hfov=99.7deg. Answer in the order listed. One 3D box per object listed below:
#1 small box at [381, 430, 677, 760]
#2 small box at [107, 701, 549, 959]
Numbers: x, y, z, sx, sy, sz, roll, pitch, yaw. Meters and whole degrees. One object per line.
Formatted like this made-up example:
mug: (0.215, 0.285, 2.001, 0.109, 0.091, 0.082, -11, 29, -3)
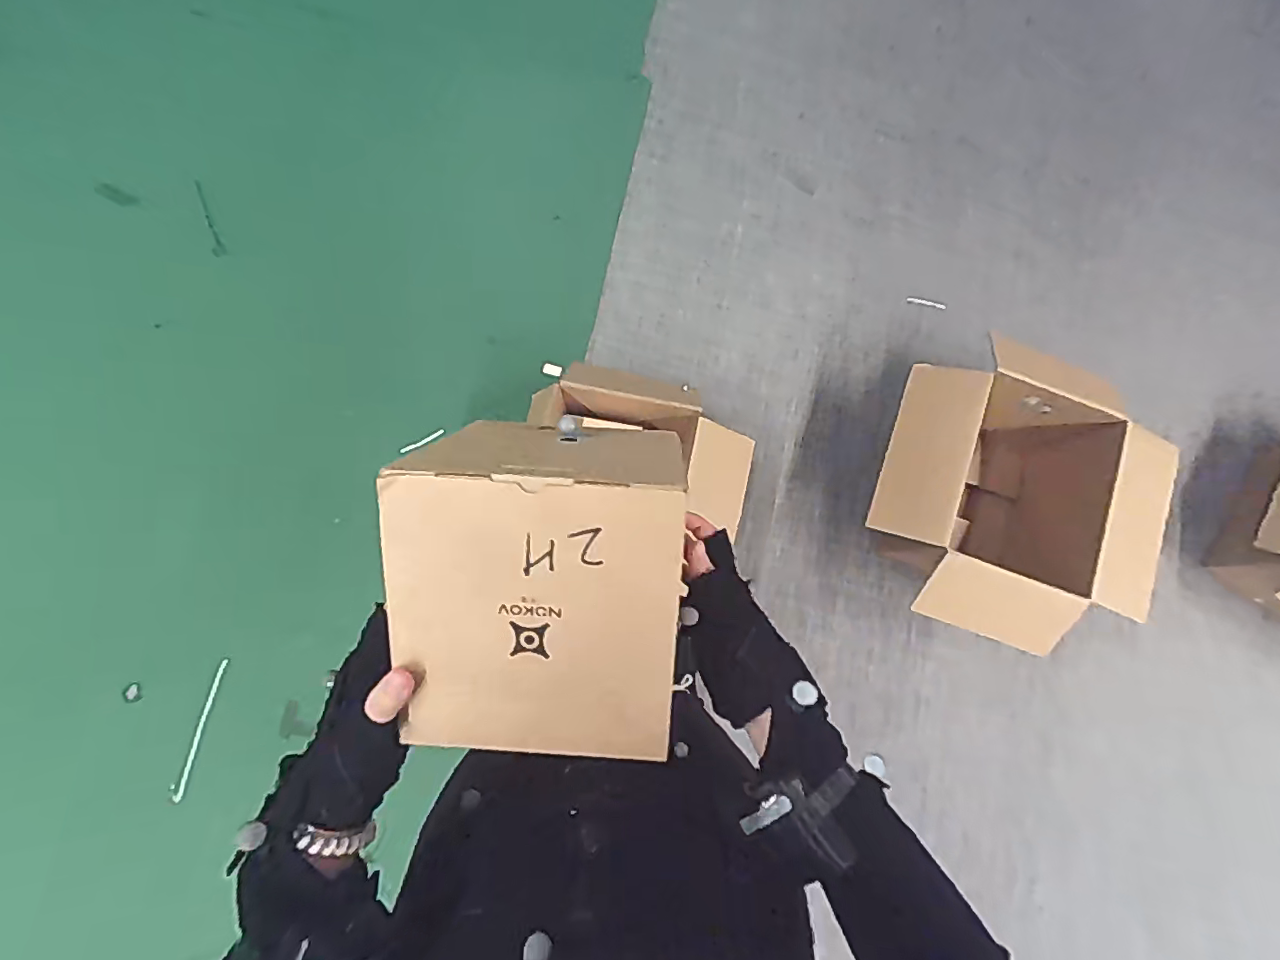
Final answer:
small box: (-0.063, 0.065, 0.391, 0.168, 0.176, 0.179, 3, 103, 0)
small box: (-0.201, 0.277, 0.367, 0.168, 0.176, 0.179, 50, 40, -21)
